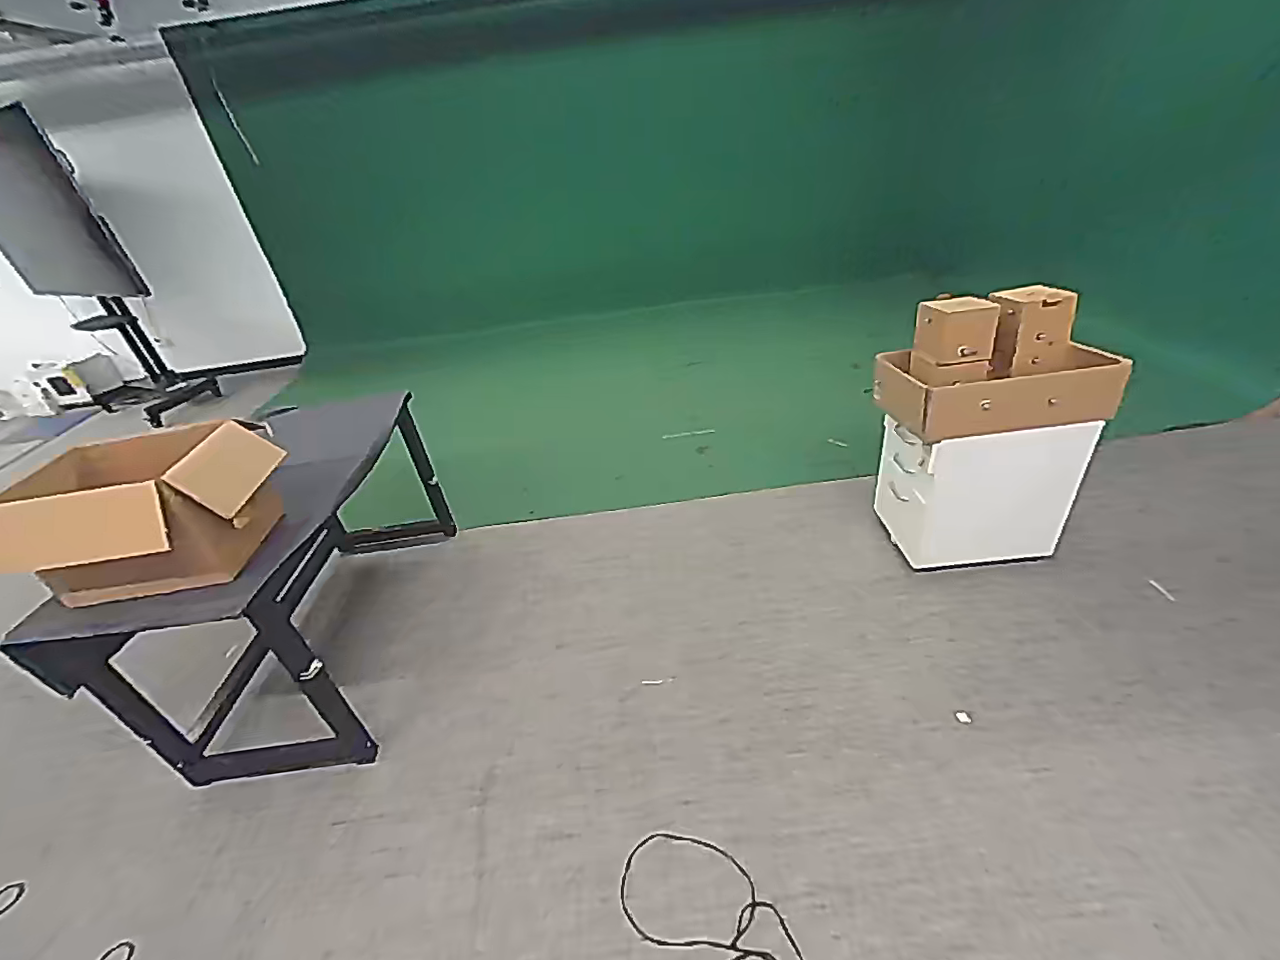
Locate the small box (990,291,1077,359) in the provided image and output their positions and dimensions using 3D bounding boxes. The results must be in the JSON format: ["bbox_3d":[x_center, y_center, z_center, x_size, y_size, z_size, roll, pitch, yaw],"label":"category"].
[{"bbox_3d":[1.246,-0.500,1.741,0.168,0.176,0.179,-9,28,2],"label":"small box"}]

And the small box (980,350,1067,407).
[{"bbox_3d":[1.274,-0.357,1.813,0.168,0.176,0.179,-10,26,4],"label":"small box"}]

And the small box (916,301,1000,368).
[{"bbox_3d":[1.014,-0.468,1.741,0.168,0.176,0.179,-8,28,2],"label":"small box"}]
